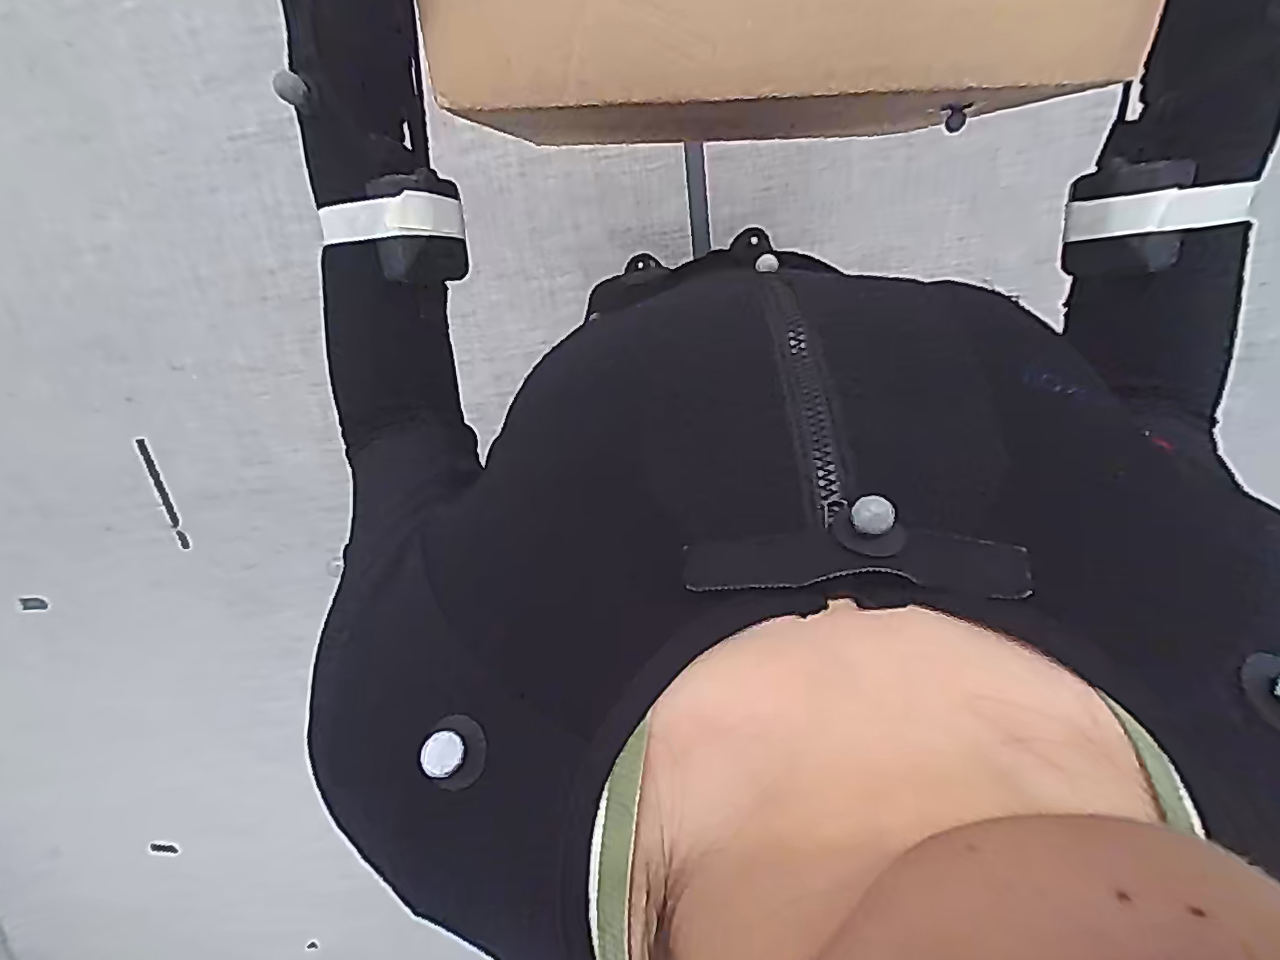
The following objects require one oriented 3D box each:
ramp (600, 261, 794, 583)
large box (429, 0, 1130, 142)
[{"bbox_3d":[0.208,-0.094,1.603,0.509,0.206,0.991,-9,111,4],"label":"ramp"},{"bbox_3d":[0.077,-0.434,0.384,0.408,0.320,0.320,-1,118,1],"label":"large box"}]
